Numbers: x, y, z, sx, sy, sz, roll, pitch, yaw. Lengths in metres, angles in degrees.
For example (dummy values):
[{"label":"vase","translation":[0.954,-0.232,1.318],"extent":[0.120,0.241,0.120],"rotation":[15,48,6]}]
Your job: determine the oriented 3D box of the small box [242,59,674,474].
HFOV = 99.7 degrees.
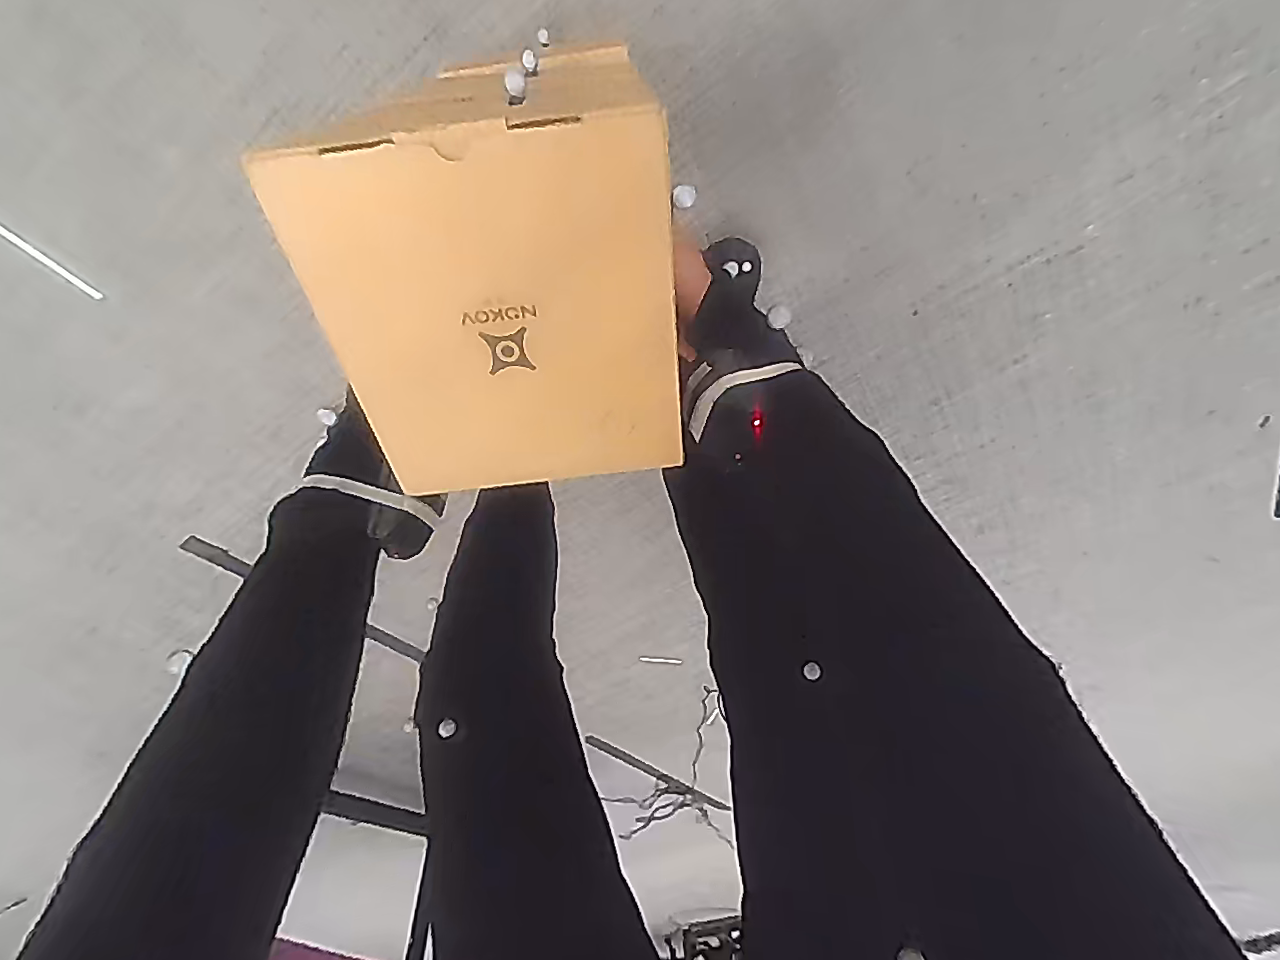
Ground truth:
[{"label":"small box","translation":[-0.069,-0.127,0.319],"extent":[0.168,0.176,0.179],"rotation":[-5,130,1]}]
